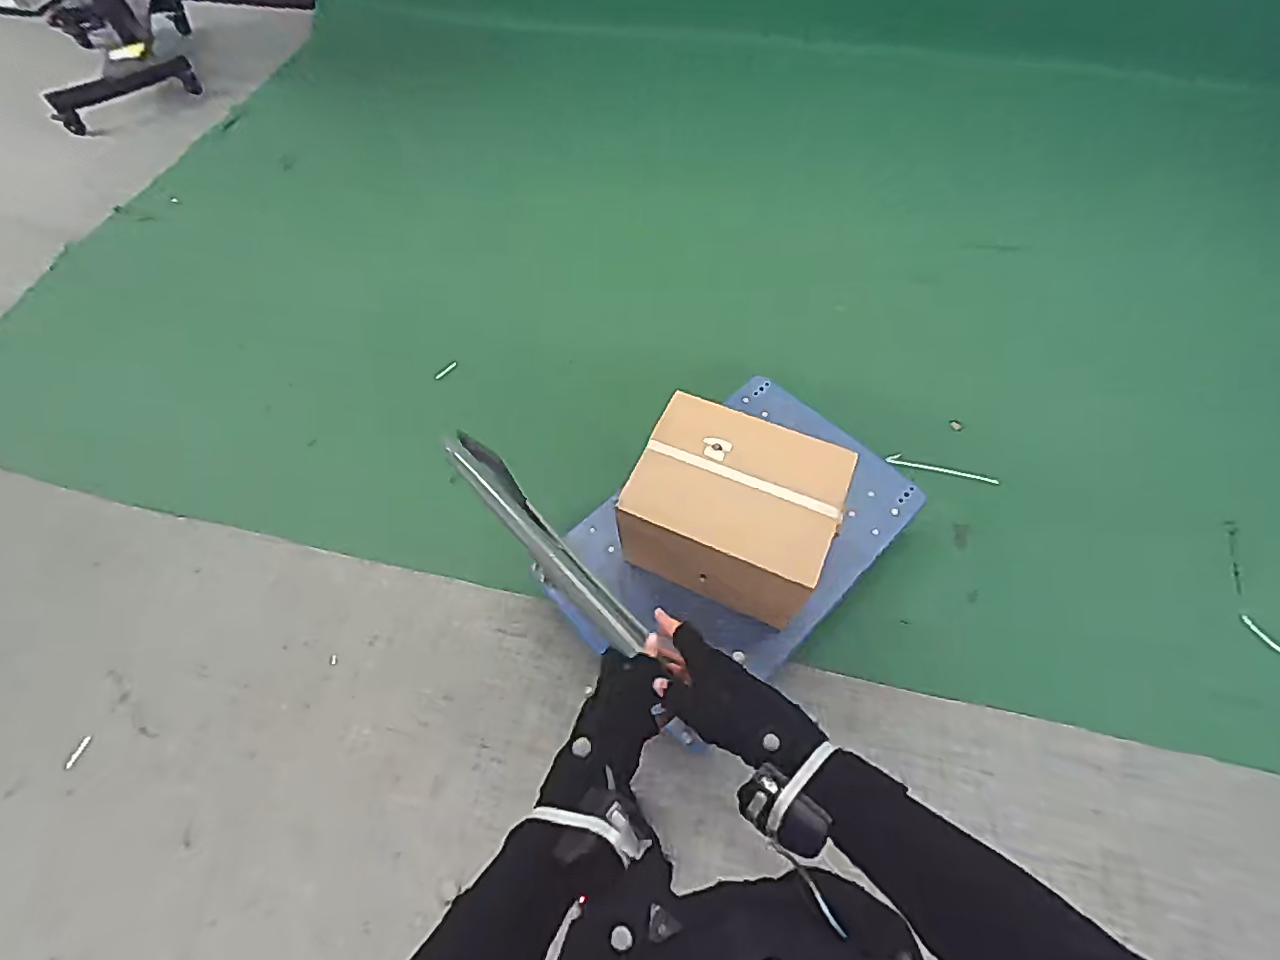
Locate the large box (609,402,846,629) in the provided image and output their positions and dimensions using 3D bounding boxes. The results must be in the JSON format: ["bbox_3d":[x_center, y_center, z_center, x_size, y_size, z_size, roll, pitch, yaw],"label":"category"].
[{"bbox_3d":[0.190,0.087,1.214,0.408,0.320,0.320,22,64,15],"label":"large box"}]
